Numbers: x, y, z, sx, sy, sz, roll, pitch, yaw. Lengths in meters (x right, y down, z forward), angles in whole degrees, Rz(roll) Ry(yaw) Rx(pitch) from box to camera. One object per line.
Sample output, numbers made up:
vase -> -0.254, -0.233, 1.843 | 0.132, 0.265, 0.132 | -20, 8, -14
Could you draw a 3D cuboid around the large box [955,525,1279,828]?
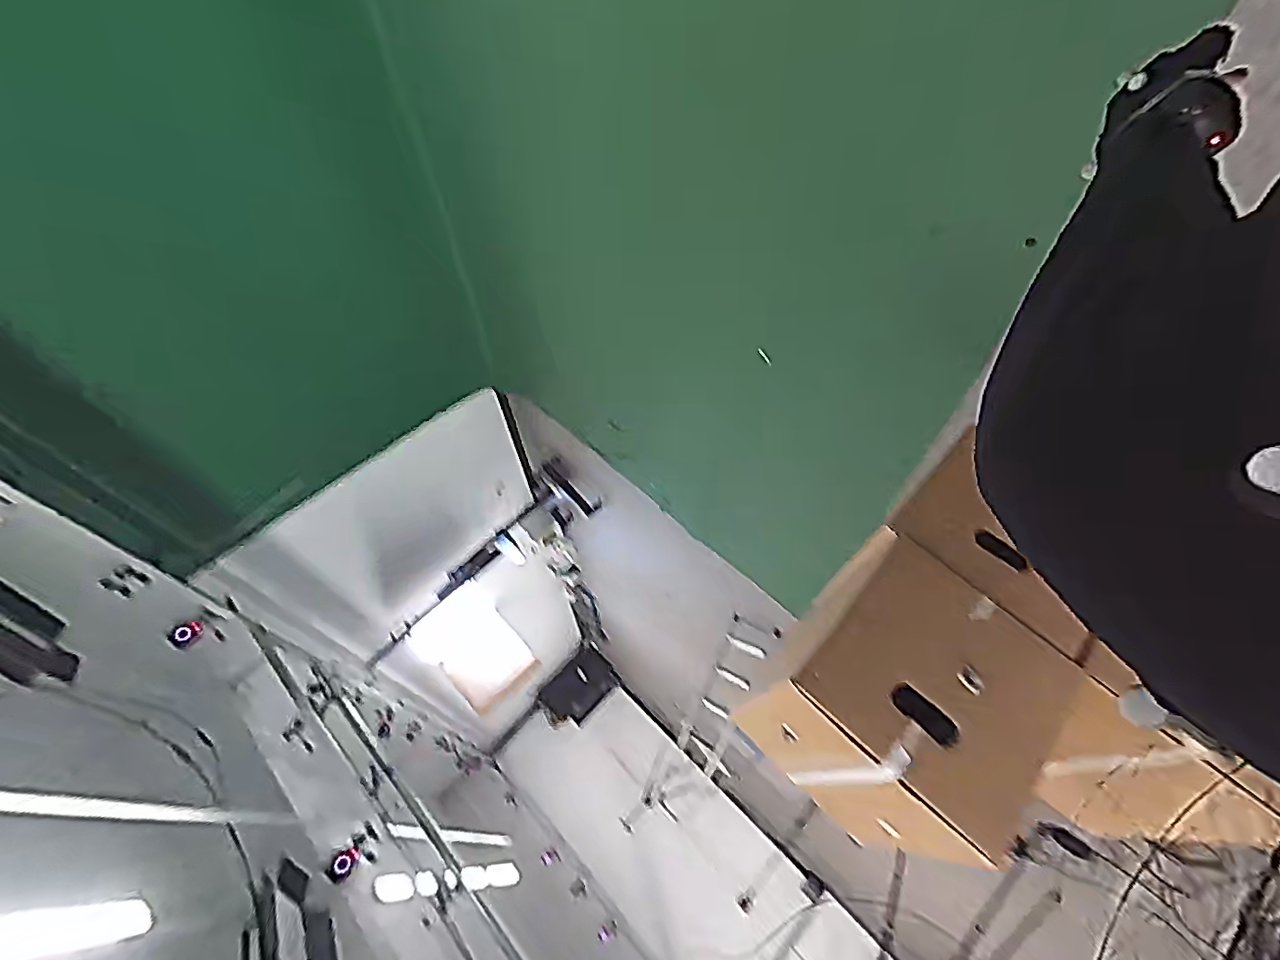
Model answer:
large box -> 0.852, 0.348, 0.936 | 0.320, 0.320, 0.408 | 41, 157, 22
